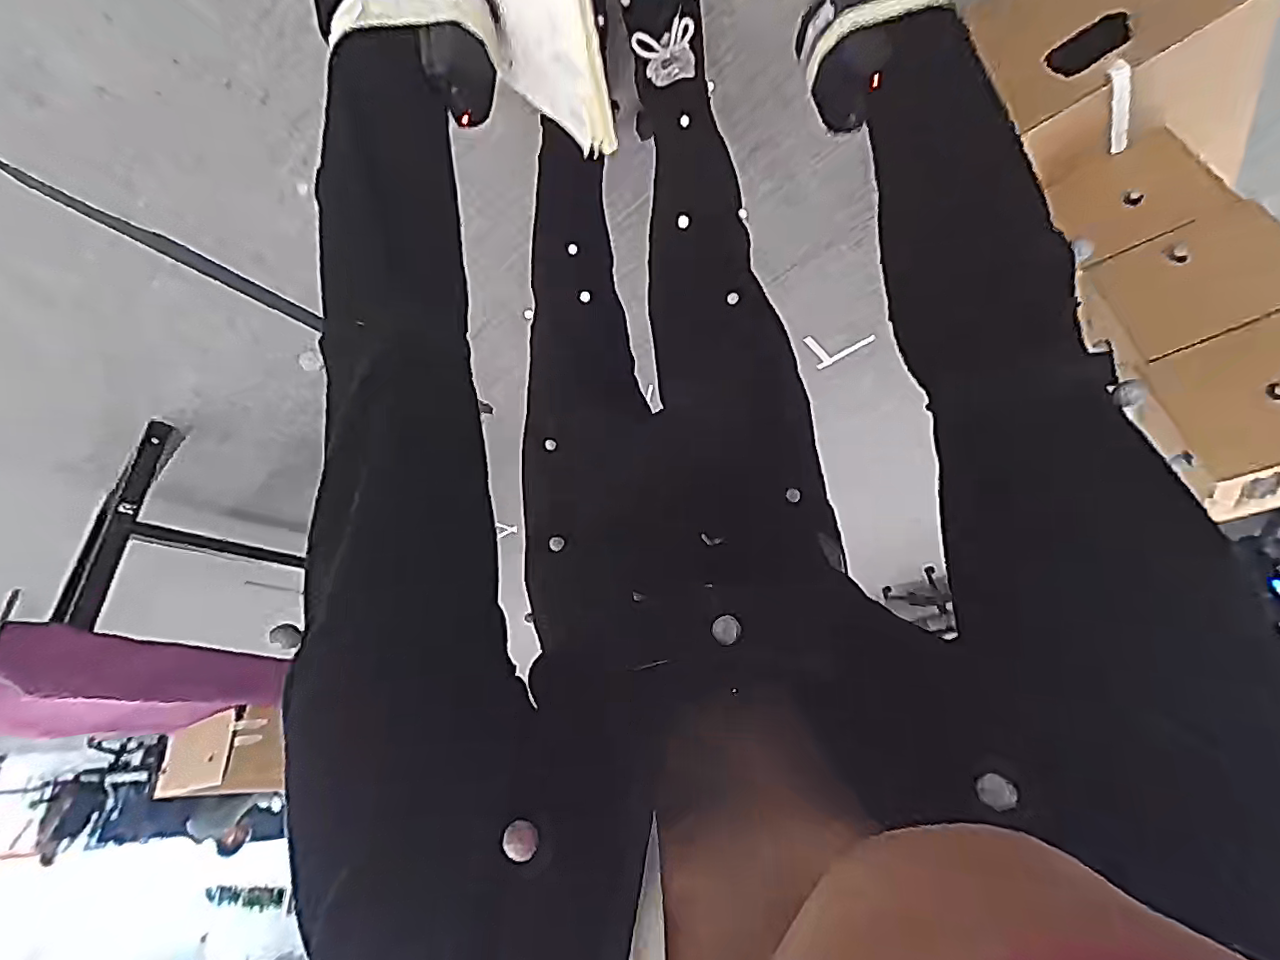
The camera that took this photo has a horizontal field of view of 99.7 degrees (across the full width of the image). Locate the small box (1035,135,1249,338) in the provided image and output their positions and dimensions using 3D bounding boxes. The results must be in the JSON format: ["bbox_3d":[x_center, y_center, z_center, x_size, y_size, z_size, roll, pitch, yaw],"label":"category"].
[{"bbox_3d":[0.714,-0.353,0.800,0.179,0.176,0.168,-23,146,27],"label":"small box"}]

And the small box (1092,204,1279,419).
[{"bbox_3d":[0.737,-0.214,0.716,0.179,0.176,0.168,-23,147,30],"label":"small box"}]
